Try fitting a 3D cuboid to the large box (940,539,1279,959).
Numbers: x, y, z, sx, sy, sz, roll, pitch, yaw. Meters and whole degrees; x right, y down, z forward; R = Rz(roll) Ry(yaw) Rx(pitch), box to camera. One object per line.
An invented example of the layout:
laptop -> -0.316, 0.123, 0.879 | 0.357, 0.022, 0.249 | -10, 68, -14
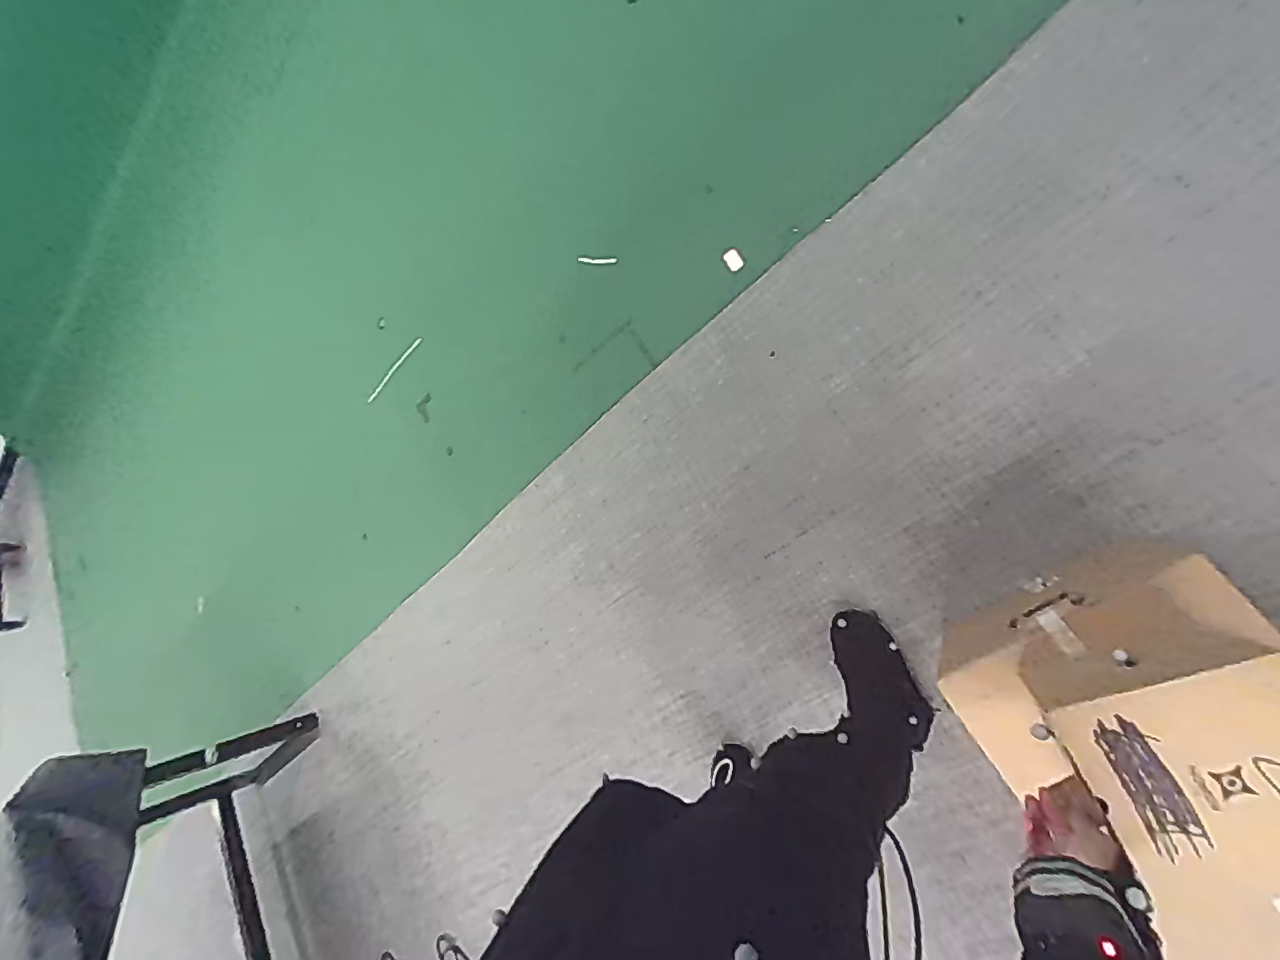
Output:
large box -> 0.658, 0.330, 0.696 | 0.320, 0.320, 0.408 | -40, 70, 24
